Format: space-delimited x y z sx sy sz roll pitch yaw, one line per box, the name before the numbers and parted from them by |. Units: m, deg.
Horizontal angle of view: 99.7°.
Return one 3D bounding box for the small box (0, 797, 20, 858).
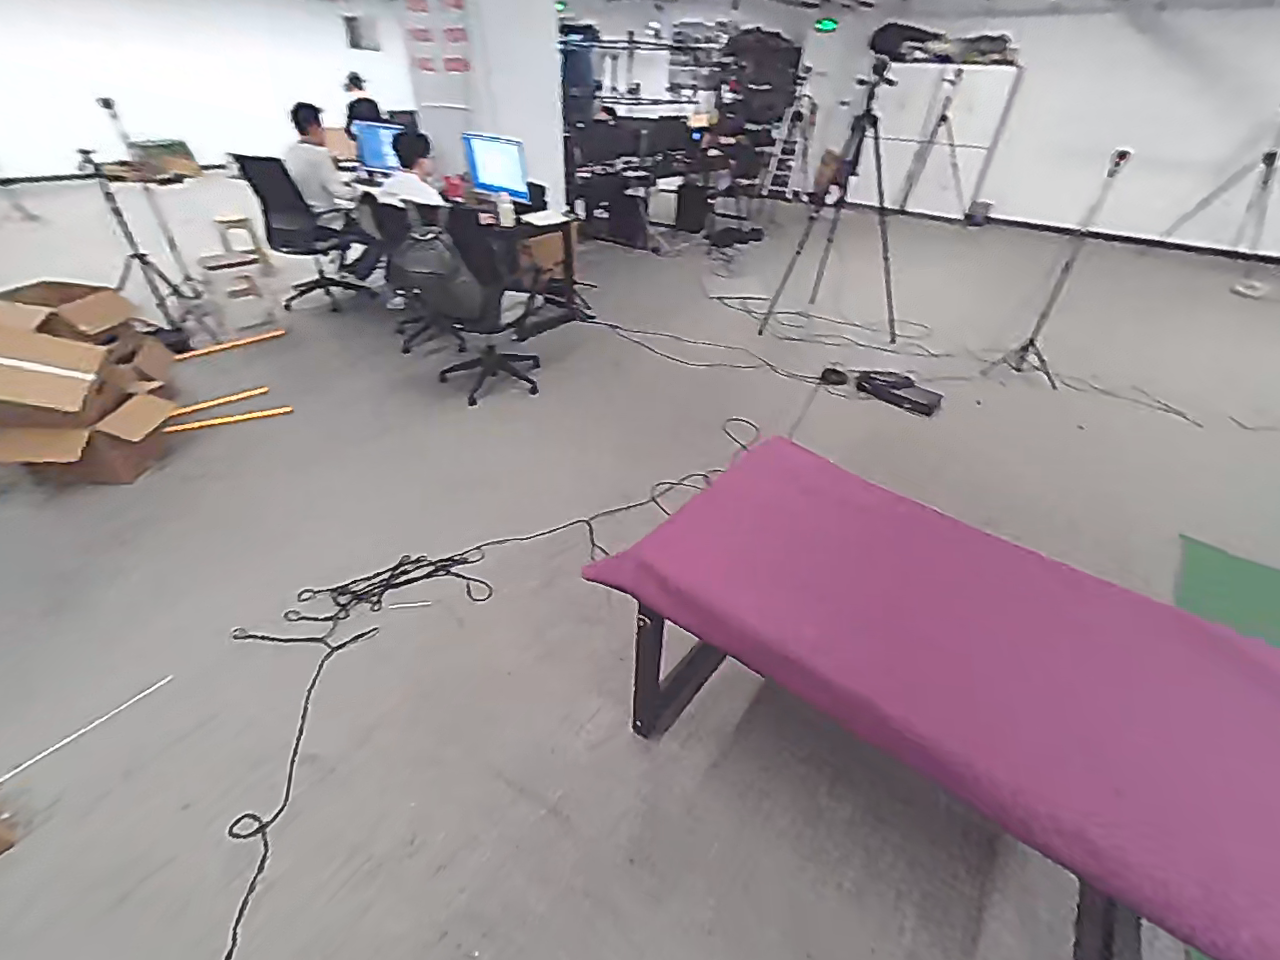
small box | -1.620 0.832 1.251 0.168 0.176 0.179 26 42 28
